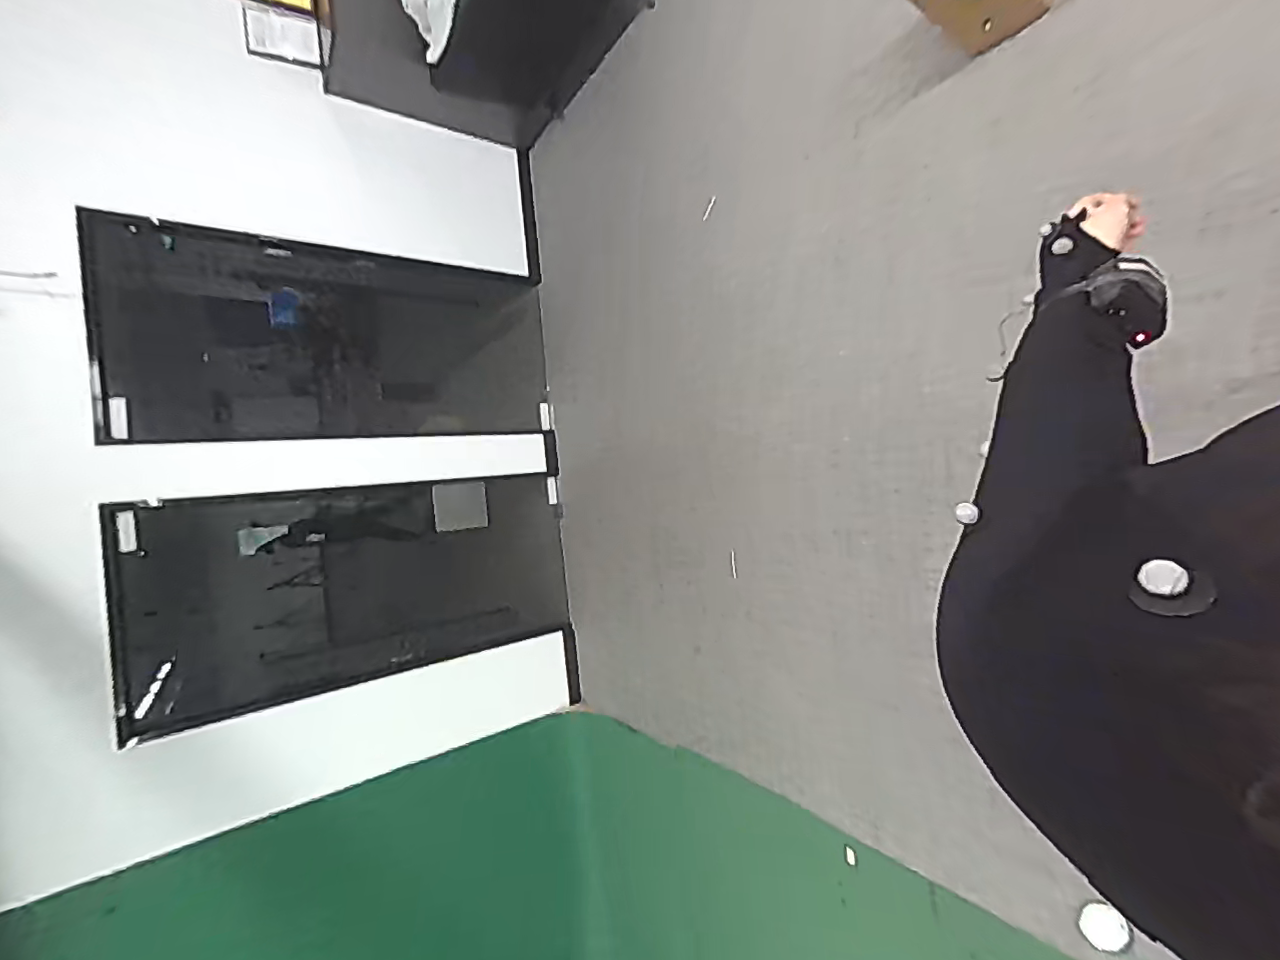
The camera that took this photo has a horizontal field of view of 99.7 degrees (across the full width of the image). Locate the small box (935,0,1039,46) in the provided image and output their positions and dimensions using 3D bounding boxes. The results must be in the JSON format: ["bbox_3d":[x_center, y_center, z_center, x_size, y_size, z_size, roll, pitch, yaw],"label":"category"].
[{"bbox_3d":[0.795,-1.148,1.227,0.179,0.176,0.168,-4,92,55],"label":"small box"}]

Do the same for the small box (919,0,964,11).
[{"bbox_3d":[0.665,-1.136,1.127,0.168,0.176,0.179,-3,92,54],"label":"small box"}]
